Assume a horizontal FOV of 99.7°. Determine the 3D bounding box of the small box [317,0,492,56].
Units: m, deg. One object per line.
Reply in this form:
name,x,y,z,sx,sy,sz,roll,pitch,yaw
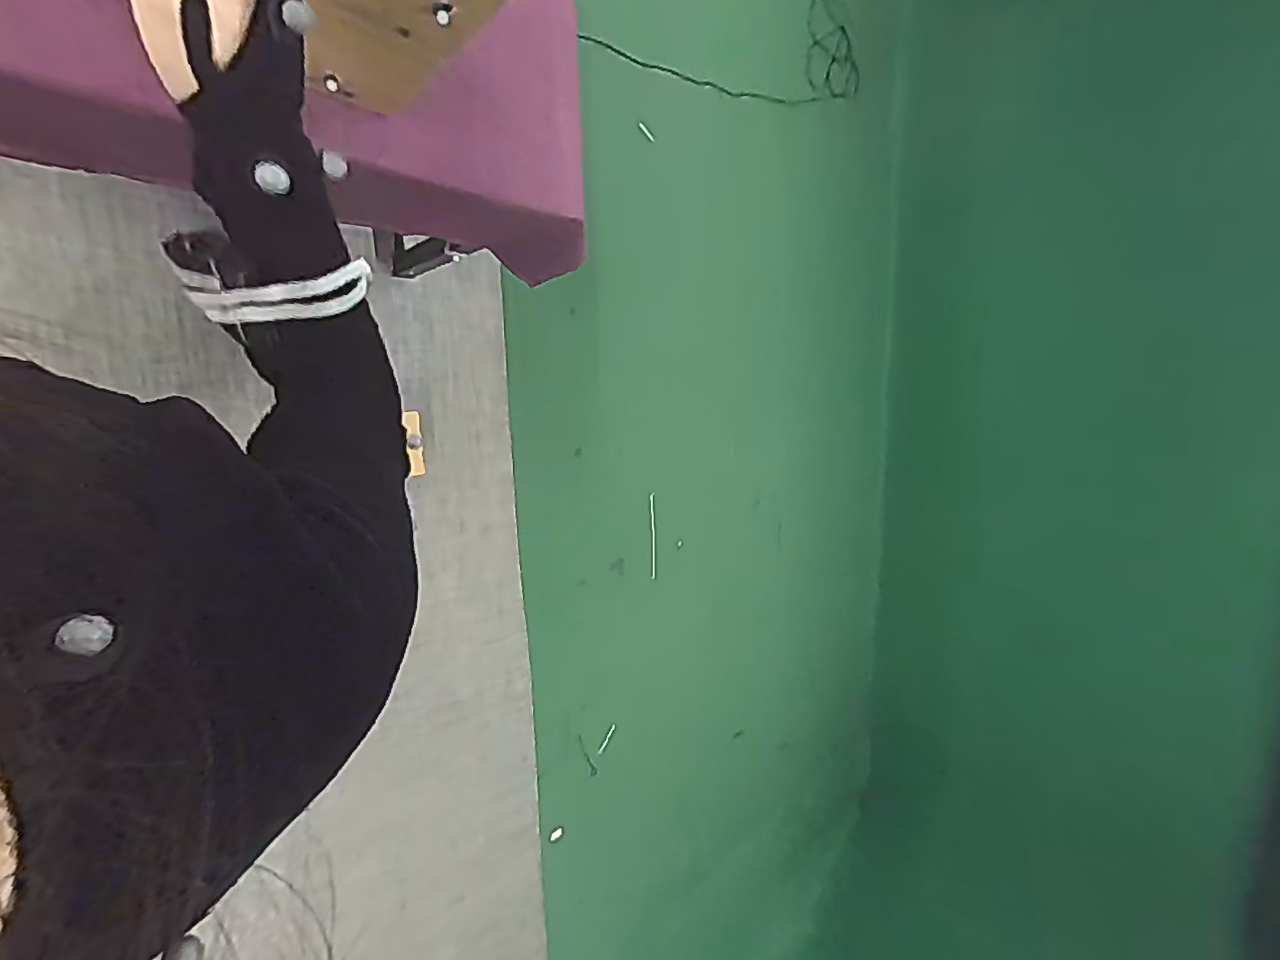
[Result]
small box,-0.234,-0.555,0.510,0.168,0.176,0.179,-11,103,-45
